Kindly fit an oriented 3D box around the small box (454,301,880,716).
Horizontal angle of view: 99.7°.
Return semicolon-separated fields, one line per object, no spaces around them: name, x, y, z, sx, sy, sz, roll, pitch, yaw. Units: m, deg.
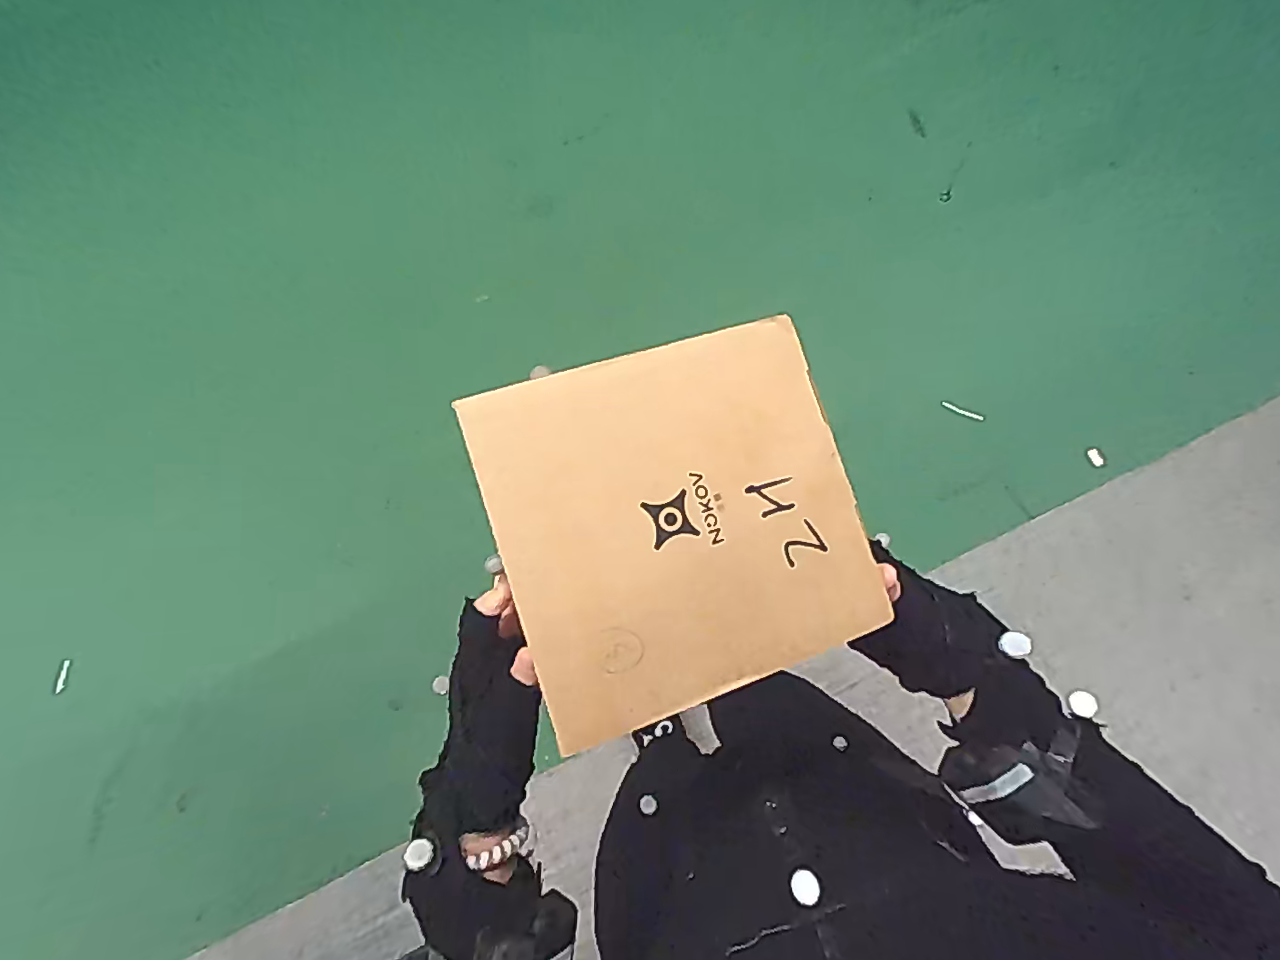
small box;0.004;0.016;0.339;0.179;0.176;0.168;-17;87;-12
